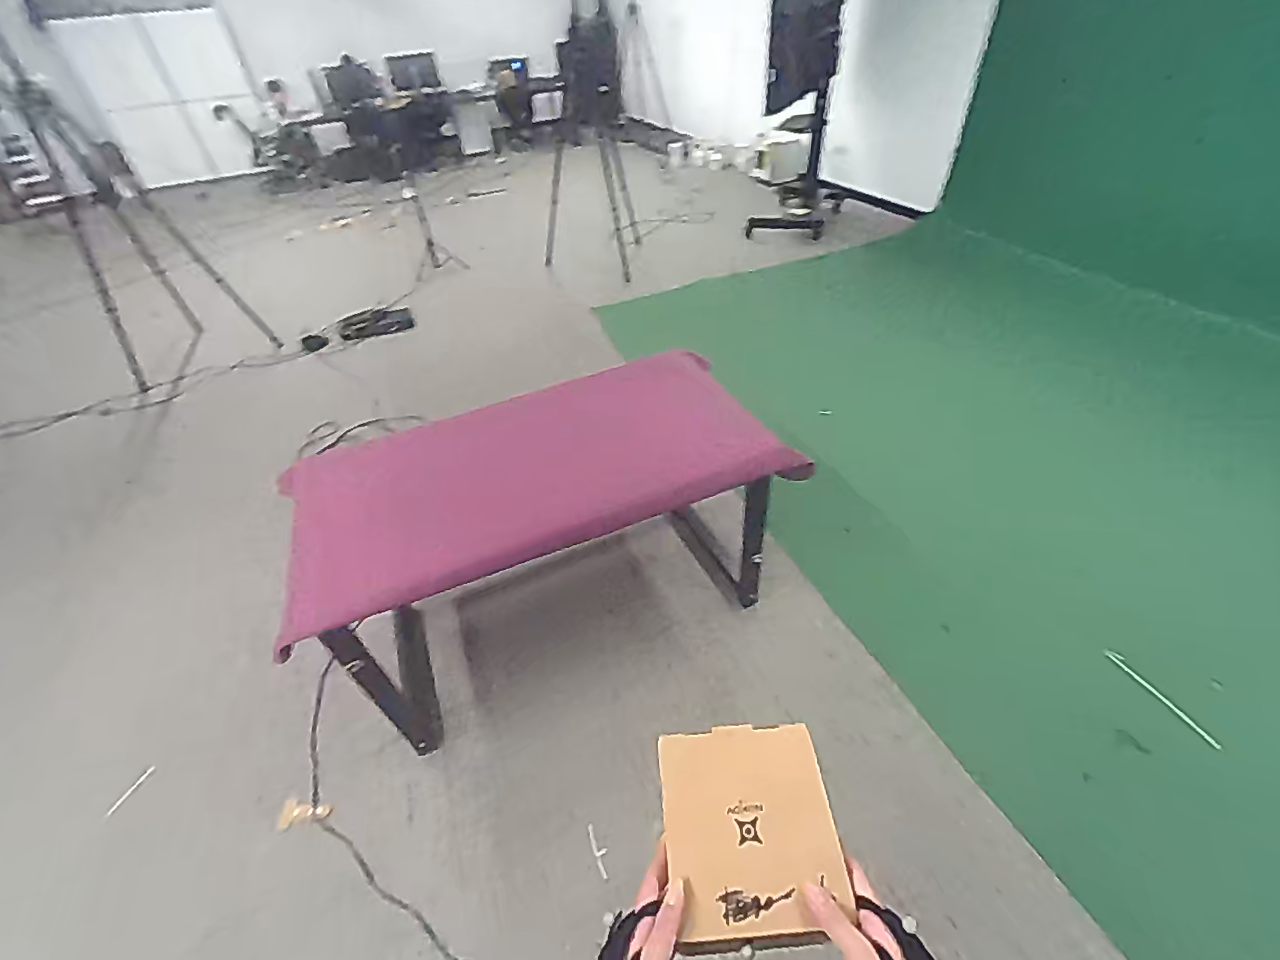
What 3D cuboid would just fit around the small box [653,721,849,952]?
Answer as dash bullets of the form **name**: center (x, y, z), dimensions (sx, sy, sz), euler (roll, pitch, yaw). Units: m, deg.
- **small box**: center (0.102, 0.386, 0.586), dimensions (0.168, 0.176, 0.179), euler (-5, 46, 0)
